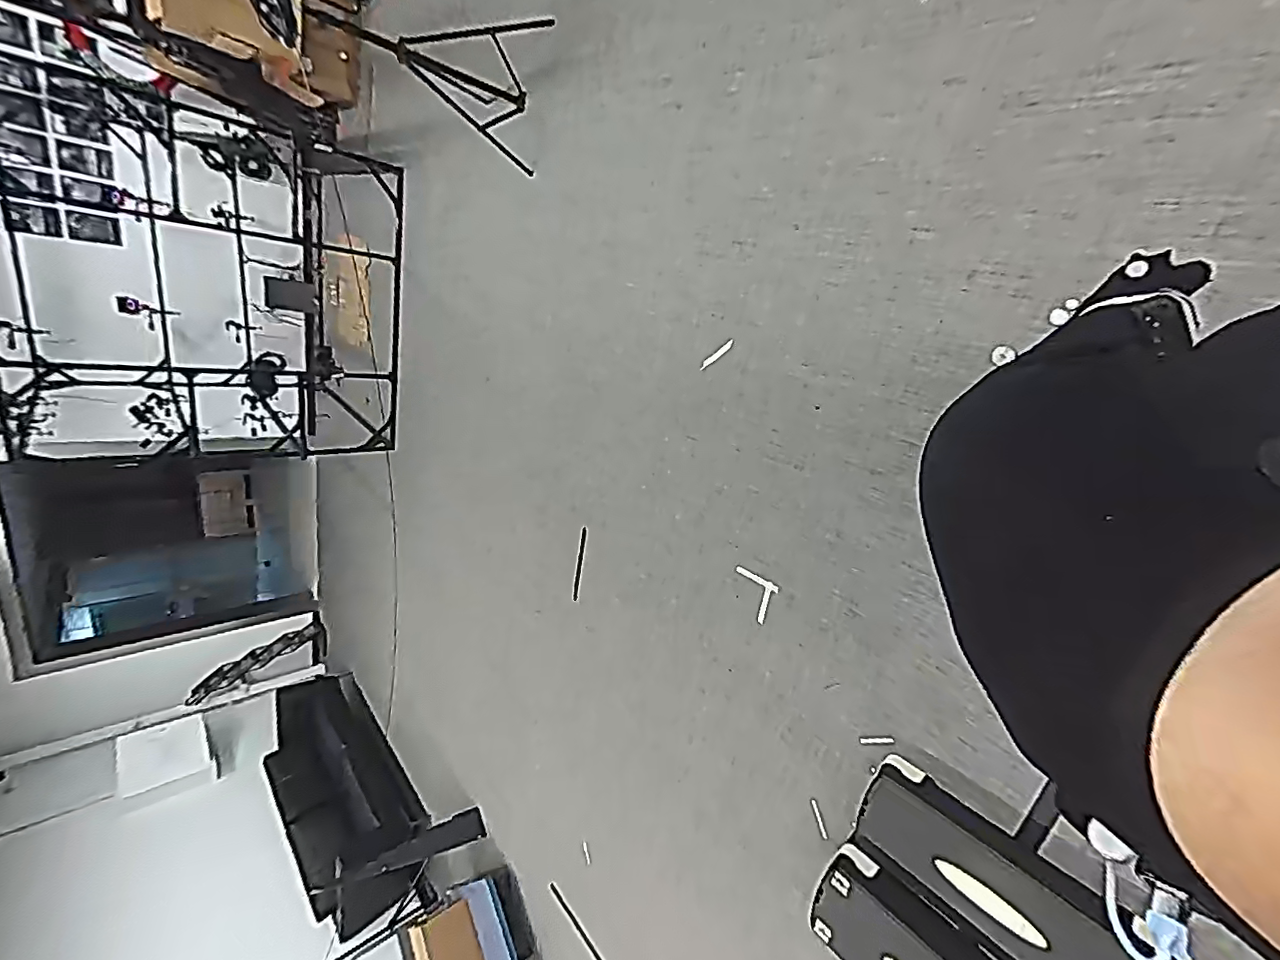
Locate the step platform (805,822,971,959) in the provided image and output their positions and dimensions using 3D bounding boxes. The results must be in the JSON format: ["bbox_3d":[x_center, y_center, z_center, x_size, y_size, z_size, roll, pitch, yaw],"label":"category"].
[{"bbox_3d":[0.786,1.292,1.436,0.684,0.204,0.286,27,115,43],"label":"step platform"}]
